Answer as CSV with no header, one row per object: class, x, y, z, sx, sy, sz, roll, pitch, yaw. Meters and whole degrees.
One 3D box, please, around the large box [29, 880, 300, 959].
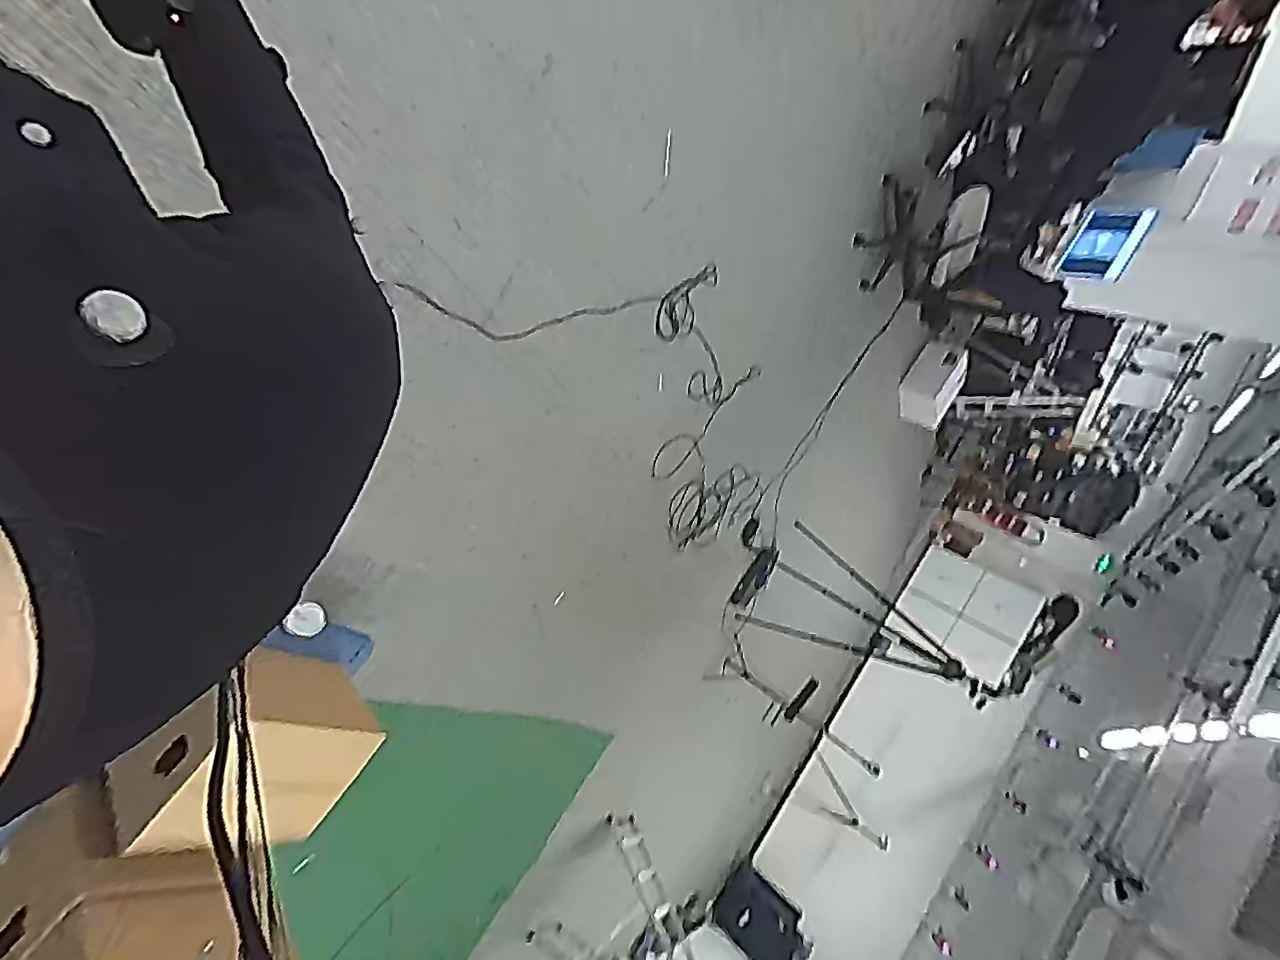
large box,-0.963,1.058,1.050,0.320,0.320,0.408,-50,144,-10
